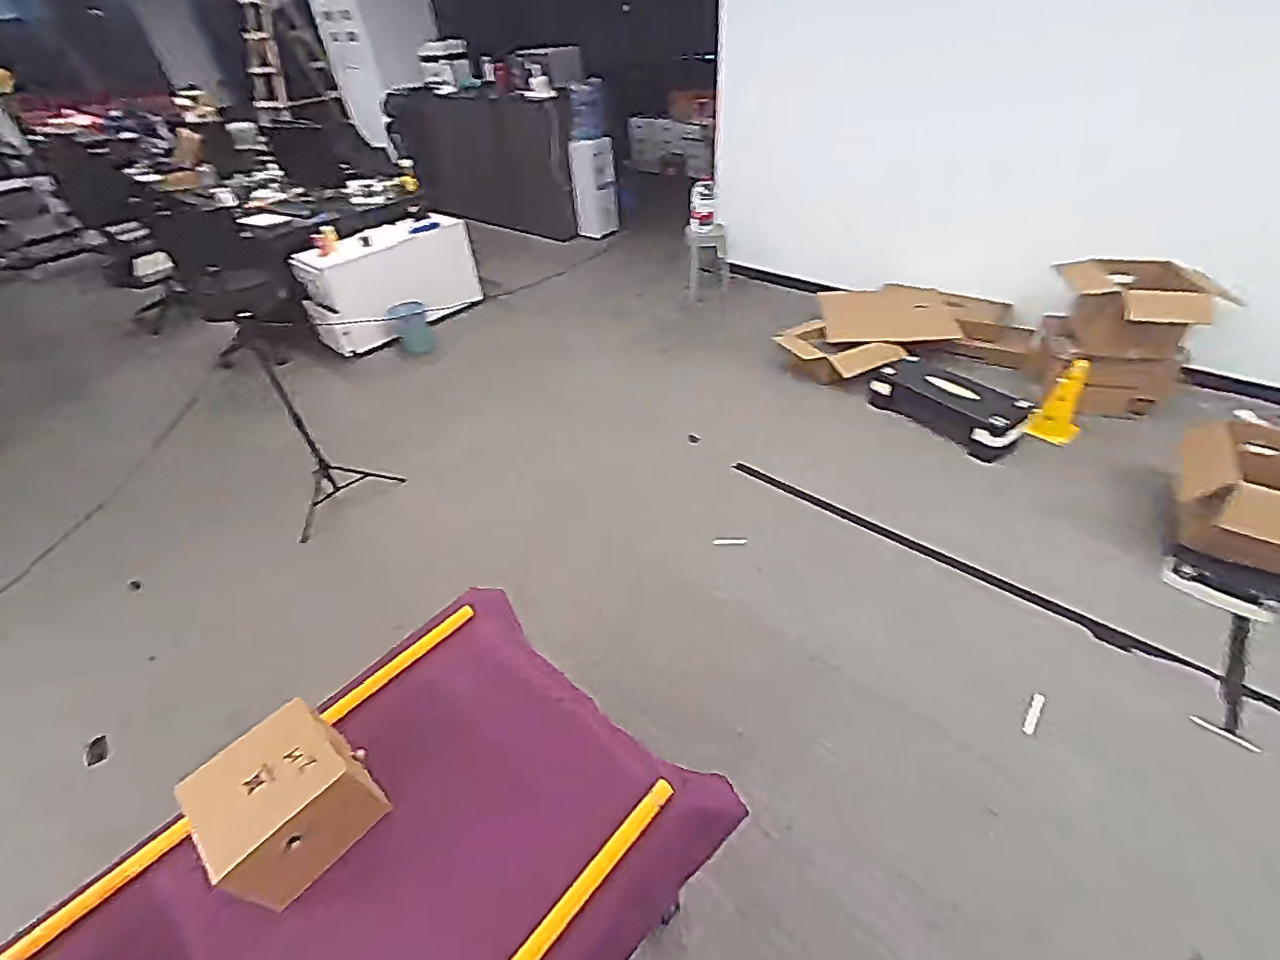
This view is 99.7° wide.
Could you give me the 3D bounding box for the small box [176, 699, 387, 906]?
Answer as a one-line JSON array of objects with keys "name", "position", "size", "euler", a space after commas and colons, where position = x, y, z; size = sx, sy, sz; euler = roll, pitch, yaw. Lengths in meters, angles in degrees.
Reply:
[{"name": "small box", "position": [-0.510, 0.469, 0.789], "size": [0.168, 0.176, 0.179], "euler": [30, 52, 31]}]
